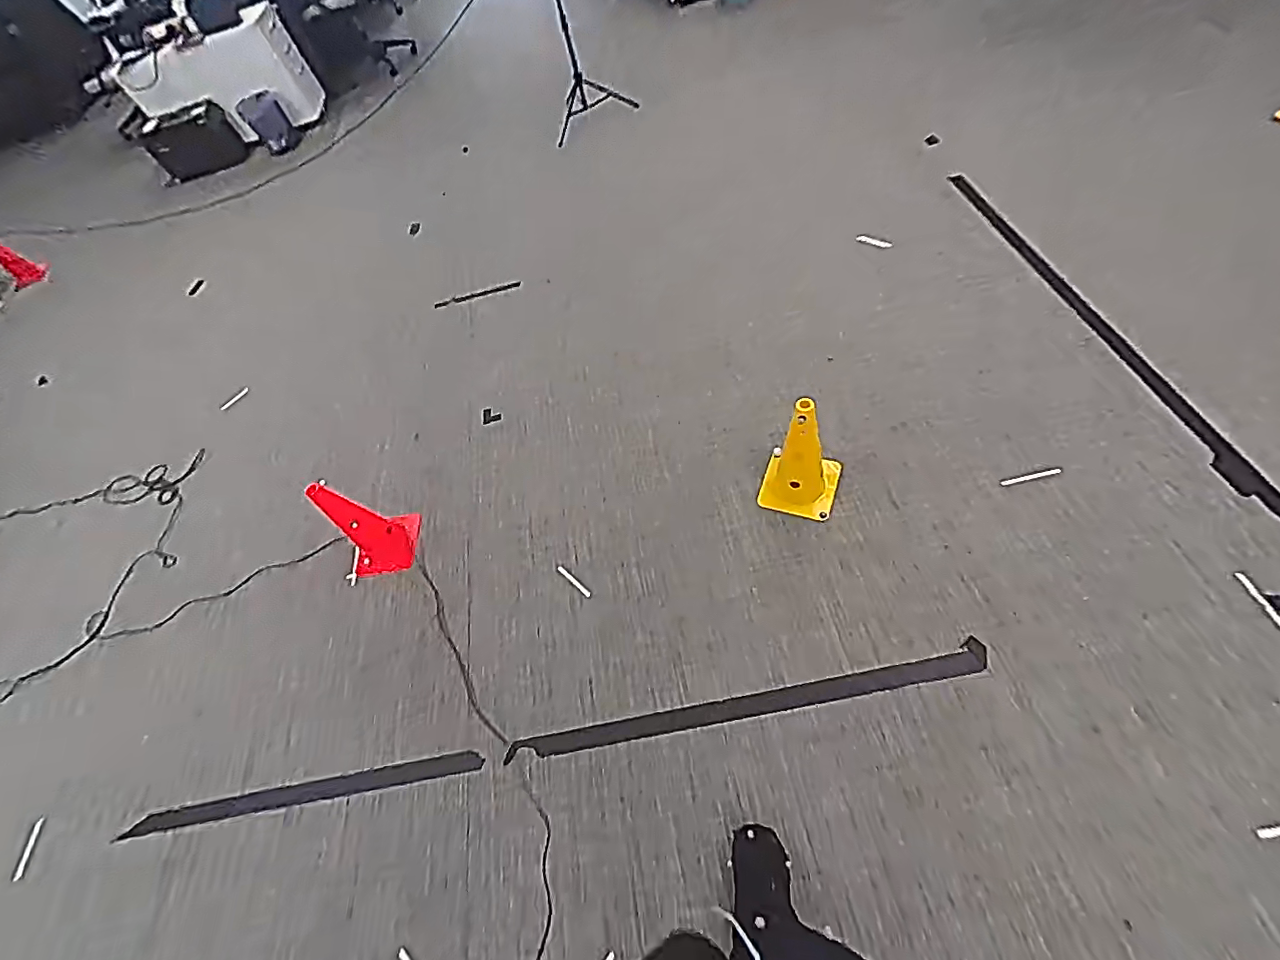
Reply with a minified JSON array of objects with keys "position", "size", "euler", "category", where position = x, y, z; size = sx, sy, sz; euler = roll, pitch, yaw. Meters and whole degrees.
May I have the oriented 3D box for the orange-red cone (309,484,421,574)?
[{"position":[-0.843,0.118,1.607],"size":[0.199,0.360,0.198],"euler":[-7,57,8],"category":"orange-red cone"}]
